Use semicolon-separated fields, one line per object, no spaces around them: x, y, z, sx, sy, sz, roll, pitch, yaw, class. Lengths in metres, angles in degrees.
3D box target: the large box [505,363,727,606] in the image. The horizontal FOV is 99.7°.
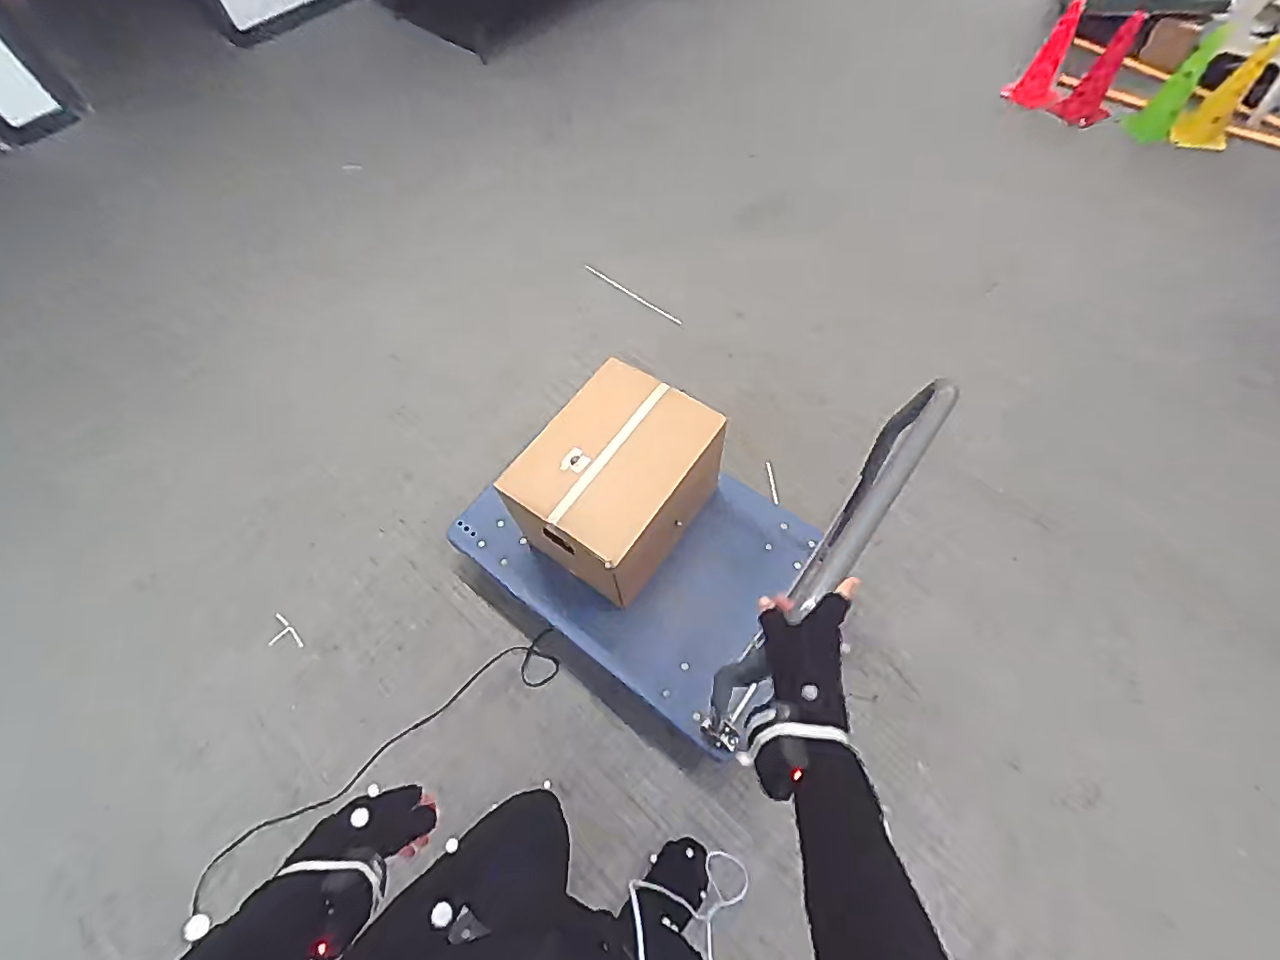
-0.038;0.016;1.261;0.320;0.320;0.408;31;68;18;large box
